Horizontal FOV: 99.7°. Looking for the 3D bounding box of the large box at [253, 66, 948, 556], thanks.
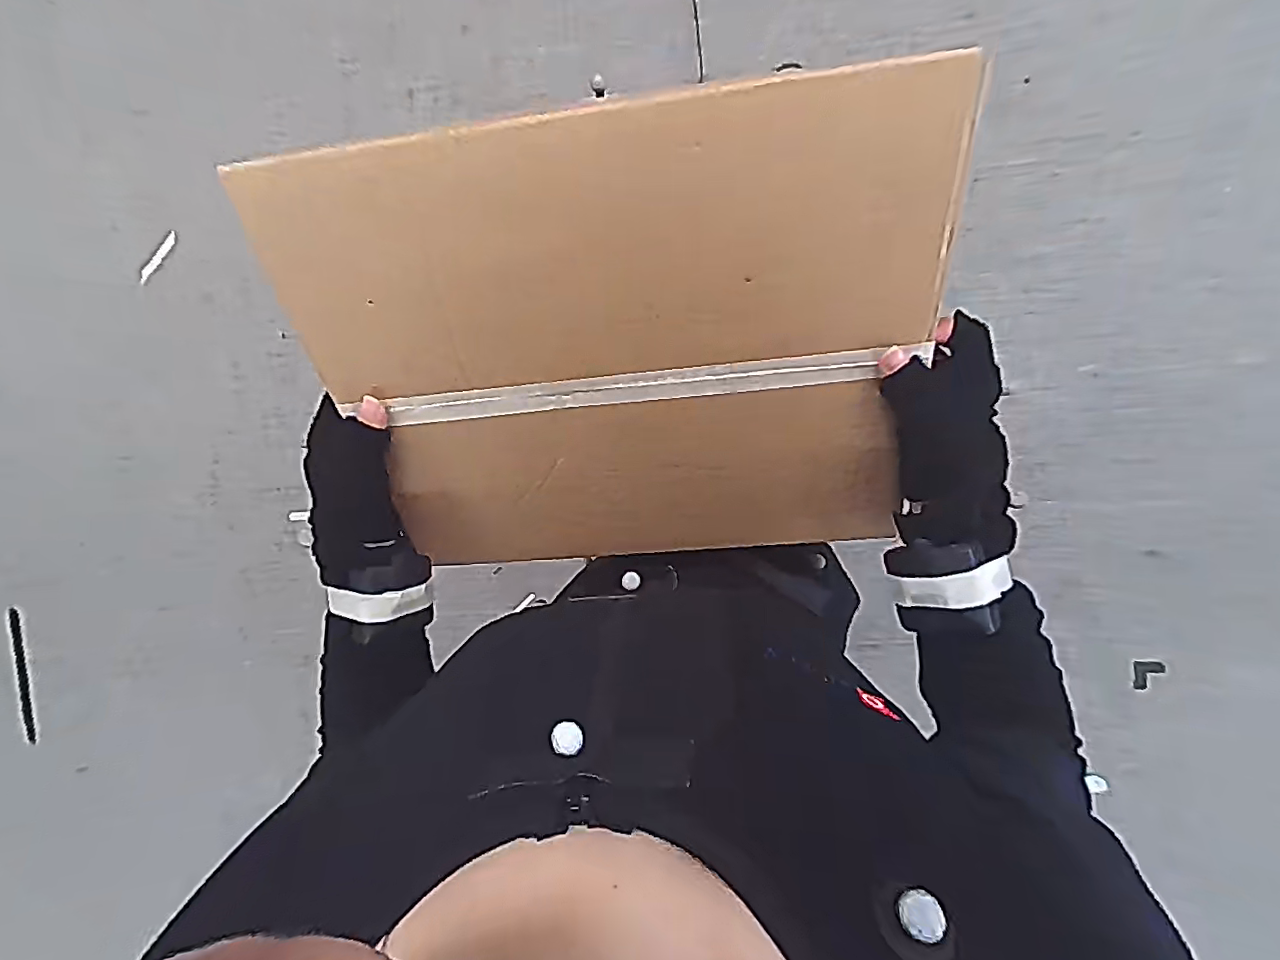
[{"bbox_3d":[-0.008,-0.158,0.502,0.408,0.320,0.320,-5,126,7],"label":"large box"}]
